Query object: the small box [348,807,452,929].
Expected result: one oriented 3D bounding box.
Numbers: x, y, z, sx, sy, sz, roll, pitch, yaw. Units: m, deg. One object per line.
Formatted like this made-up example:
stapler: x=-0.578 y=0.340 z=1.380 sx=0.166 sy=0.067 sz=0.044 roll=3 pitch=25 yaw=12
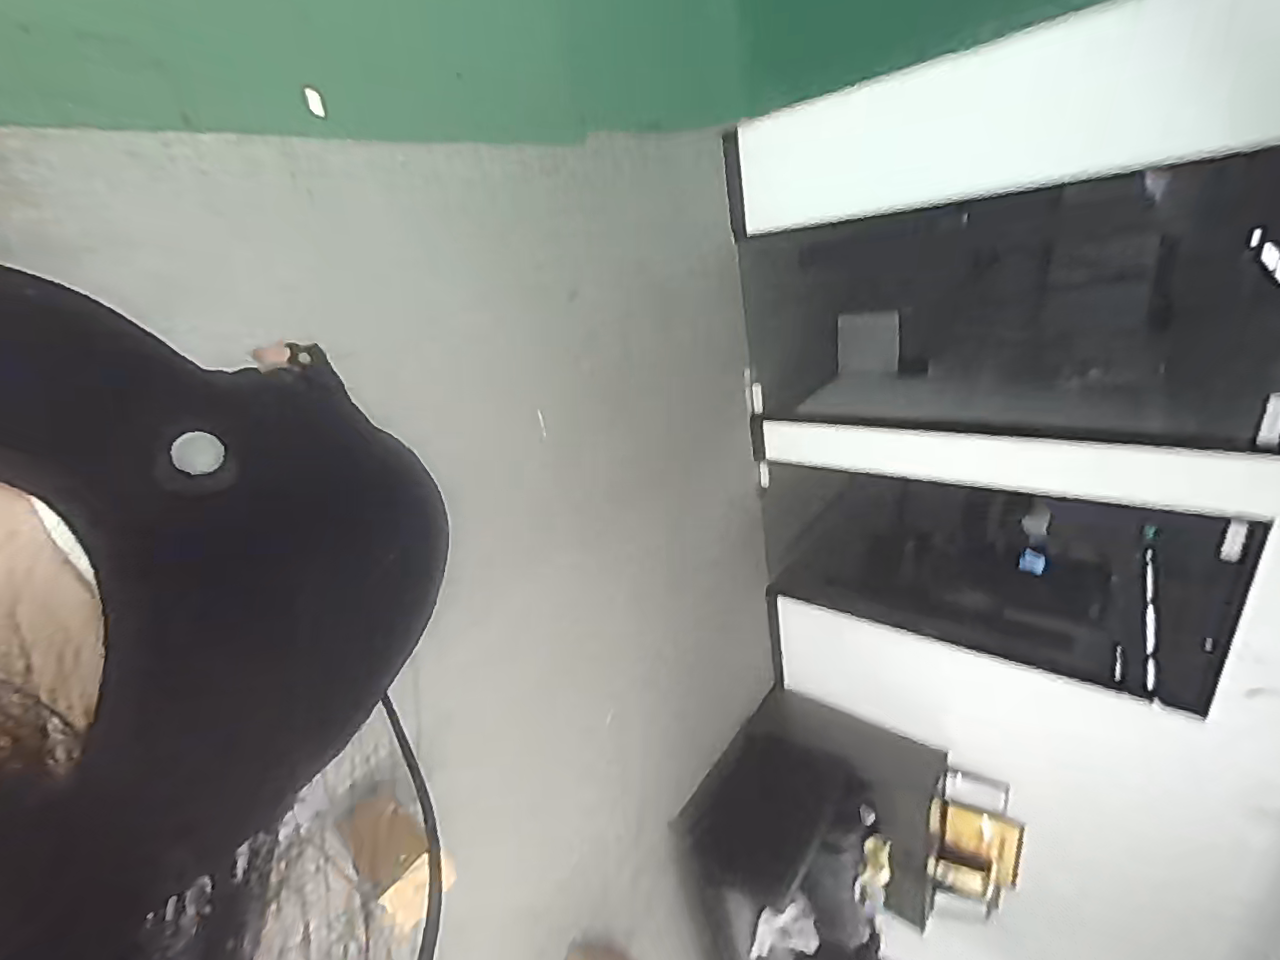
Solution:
small box: x=-0.655 y=1.047 z=1.477 sx=0.179 sy=0.176 sz=0.168 roll=-35 pitch=123 yaw=-40
